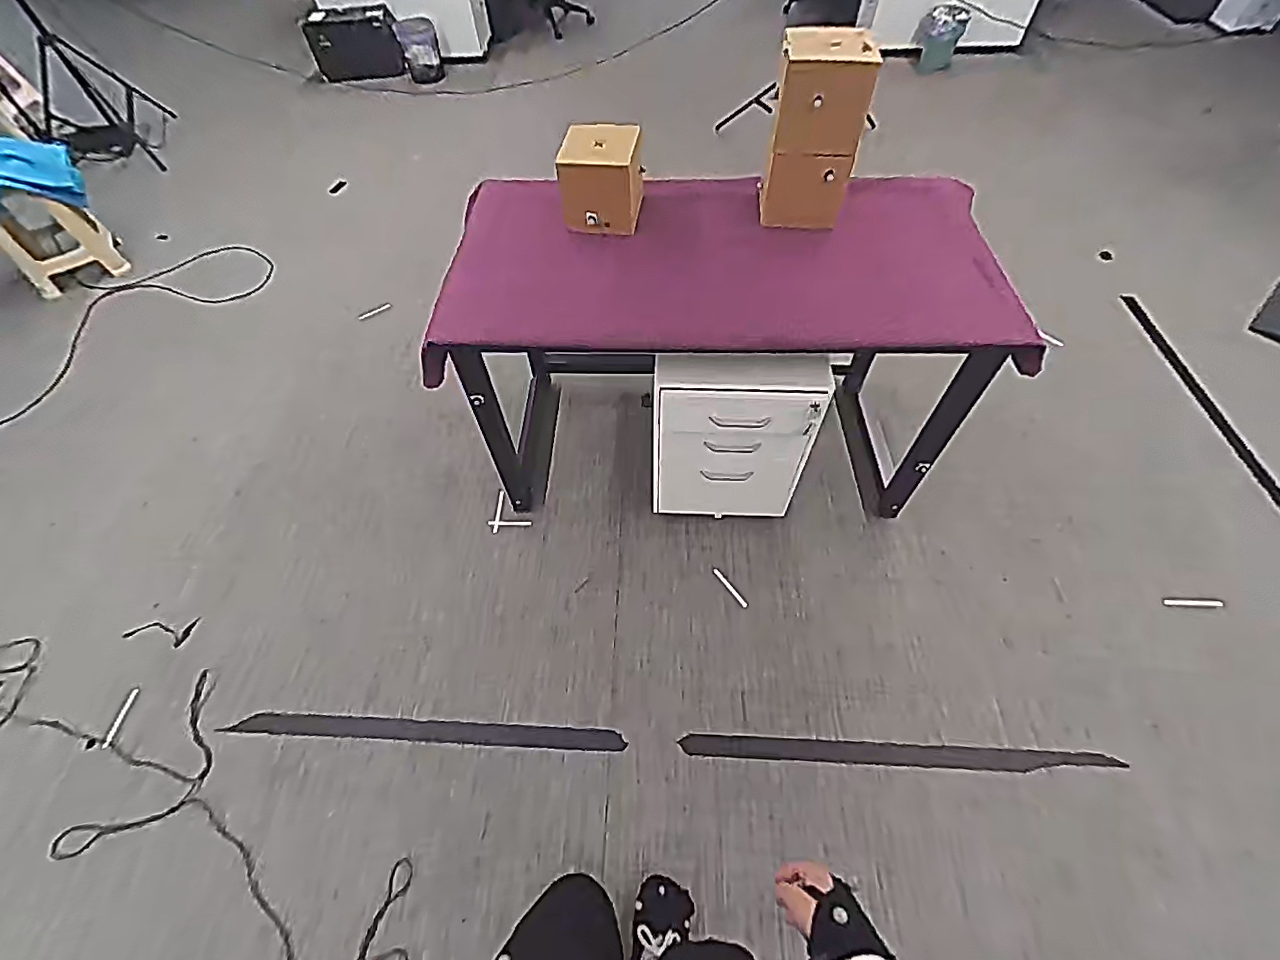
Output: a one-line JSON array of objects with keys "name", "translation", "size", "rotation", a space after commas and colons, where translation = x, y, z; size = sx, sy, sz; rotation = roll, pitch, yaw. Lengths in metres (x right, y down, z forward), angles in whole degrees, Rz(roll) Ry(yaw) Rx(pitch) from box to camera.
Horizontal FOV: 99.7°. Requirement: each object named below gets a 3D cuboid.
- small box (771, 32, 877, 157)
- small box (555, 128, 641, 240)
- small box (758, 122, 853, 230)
[{"name": "small box", "translation": [0.369, -0.795, 1.121], "size": [0.179, 0.176, 0.168], "rotation": [4, 57, 6]}, {"name": "small box", "translation": [-0.089, -0.691, 1.266], "size": [0.168, 0.176, 0.179], "rotation": [5, 58, 6]}, {"name": "small box", "translation": [0.375, -0.702, 1.256], "size": [0.179, 0.176, 0.168], "rotation": [3, 56, 5]}]
